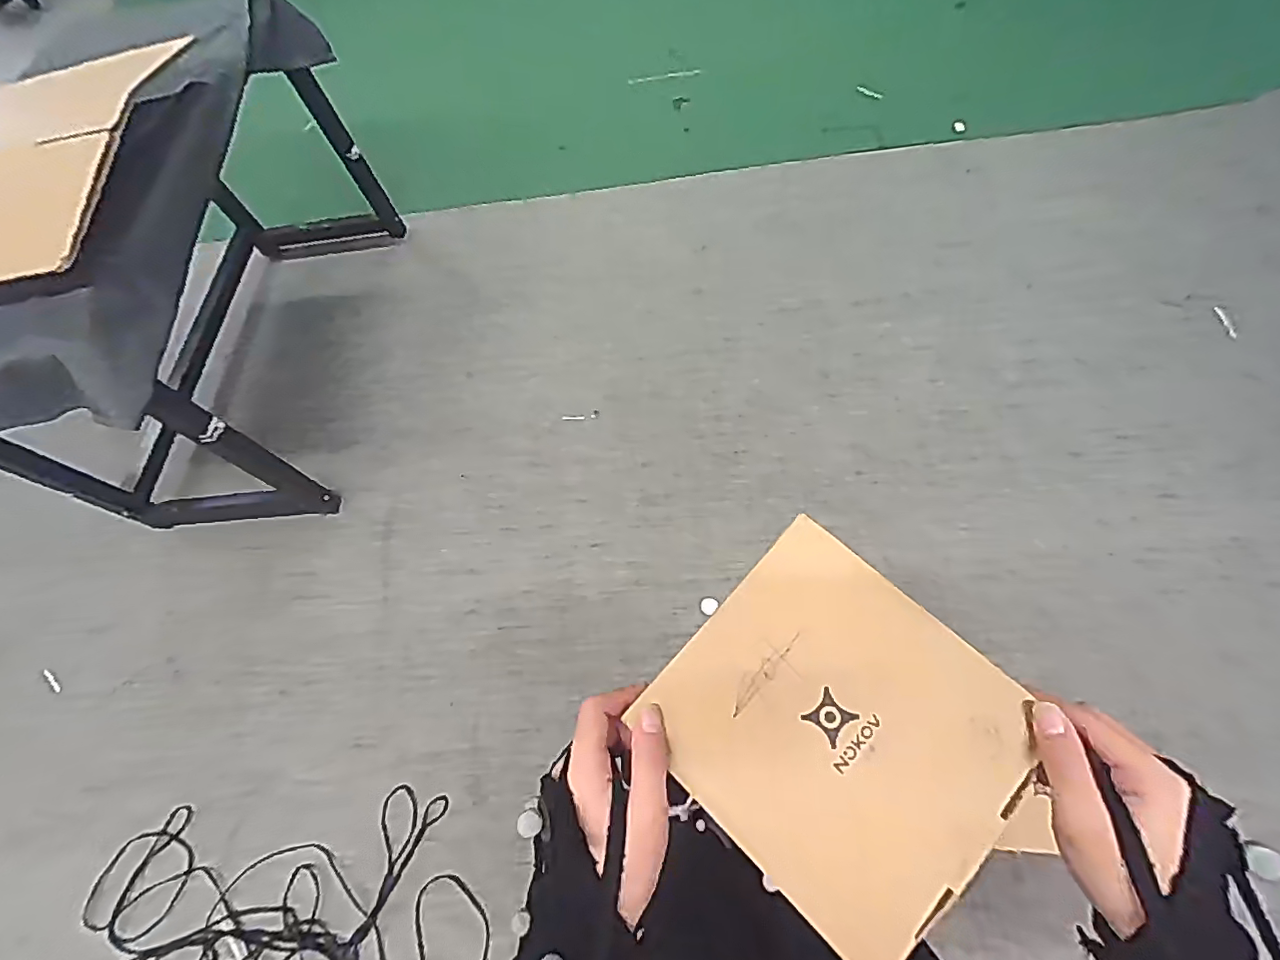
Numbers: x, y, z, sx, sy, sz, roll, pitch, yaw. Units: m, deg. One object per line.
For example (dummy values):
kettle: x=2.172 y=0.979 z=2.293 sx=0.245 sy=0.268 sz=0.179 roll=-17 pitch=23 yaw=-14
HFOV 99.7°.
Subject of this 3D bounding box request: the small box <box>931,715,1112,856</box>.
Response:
small box: x=0.596 y=0.482 z=0.873 sx=0.168 sy=0.176 sz=0.179 roll=-1 pitch=64 yaw=8
